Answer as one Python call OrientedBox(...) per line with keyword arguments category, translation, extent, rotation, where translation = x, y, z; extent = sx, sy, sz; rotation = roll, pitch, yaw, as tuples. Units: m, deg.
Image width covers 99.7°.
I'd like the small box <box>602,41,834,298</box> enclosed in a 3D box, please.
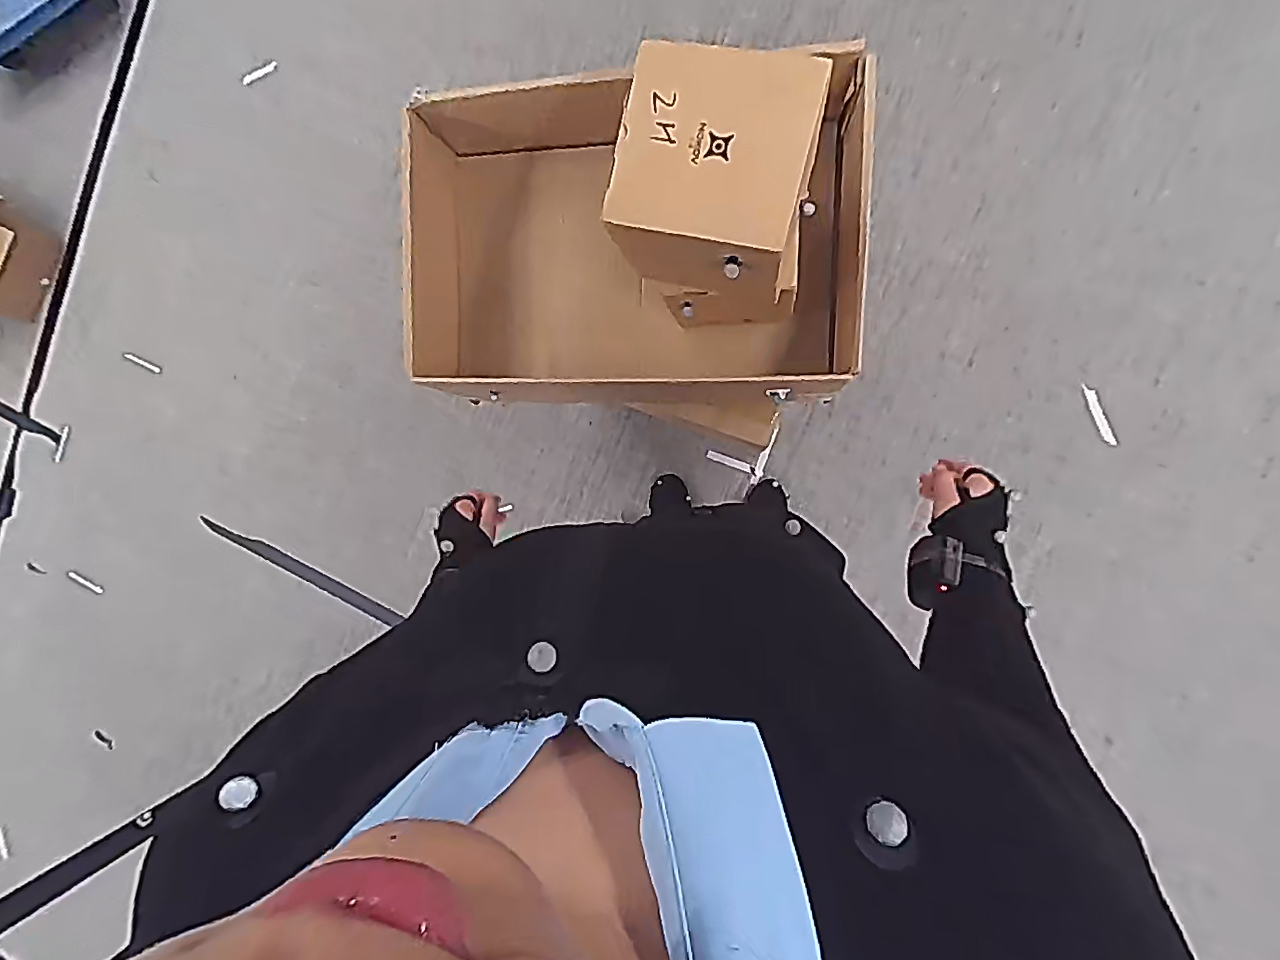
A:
OrientedBox(category="small box", translation=(0.081, -0.303, 0.564), extent=(0.179, 0.176, 0.168), rotation=(15, 95, 11))
